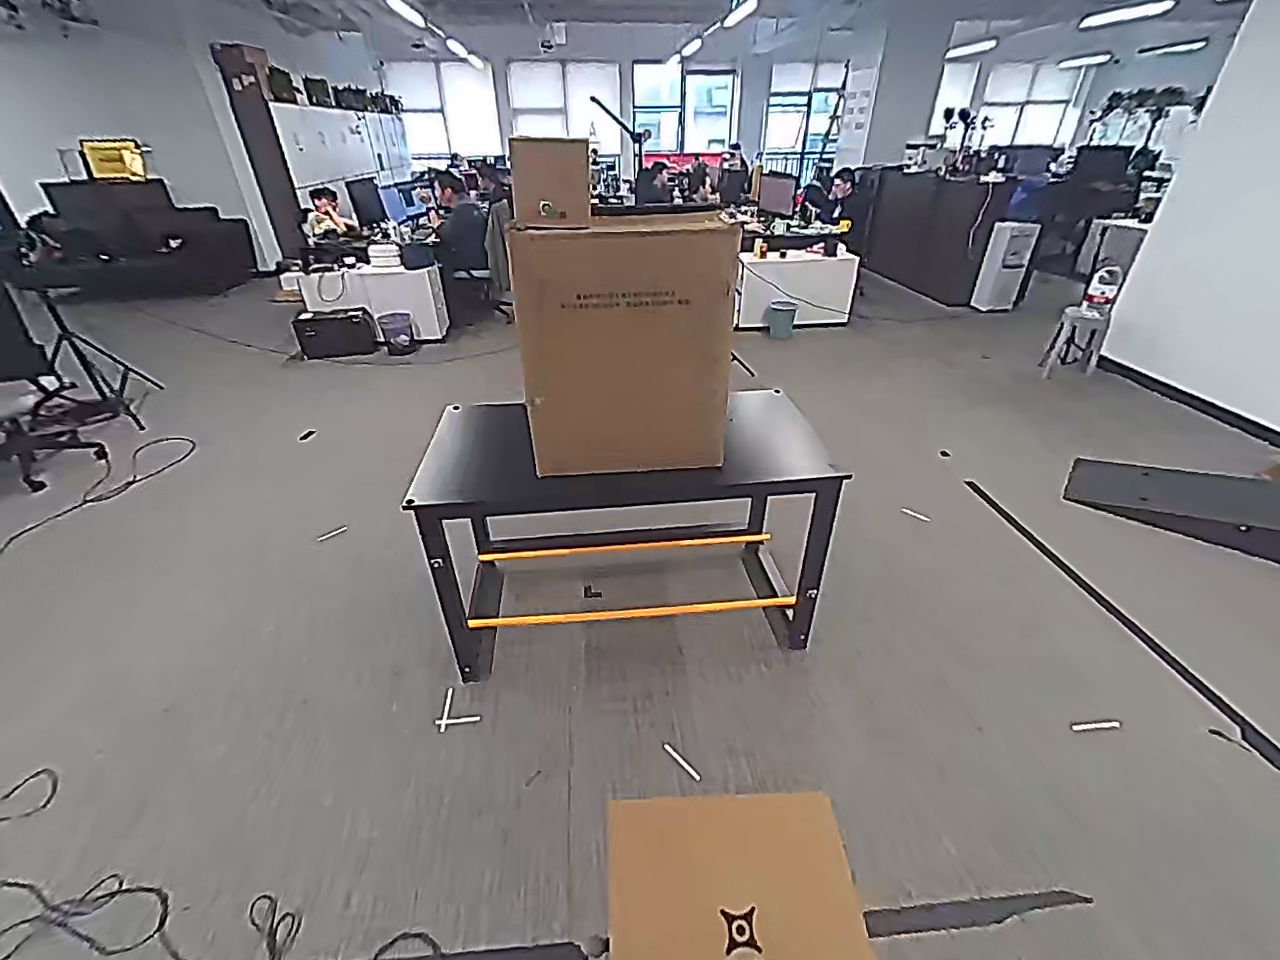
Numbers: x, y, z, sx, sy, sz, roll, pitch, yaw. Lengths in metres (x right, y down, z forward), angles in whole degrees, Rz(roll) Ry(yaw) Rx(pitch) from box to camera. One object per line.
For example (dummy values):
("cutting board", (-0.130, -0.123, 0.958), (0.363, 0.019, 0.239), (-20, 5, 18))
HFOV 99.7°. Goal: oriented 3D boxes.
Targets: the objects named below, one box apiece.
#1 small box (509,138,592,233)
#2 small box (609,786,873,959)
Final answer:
("small box", (-0.192, -0.657, 1.203), (0.168, 0.176, 0.179), (-3, 34, -6))
("small box", (0.061, 0.352, 0.396), (0.168, 0.176, 0.179), (-1, 41, -3))
